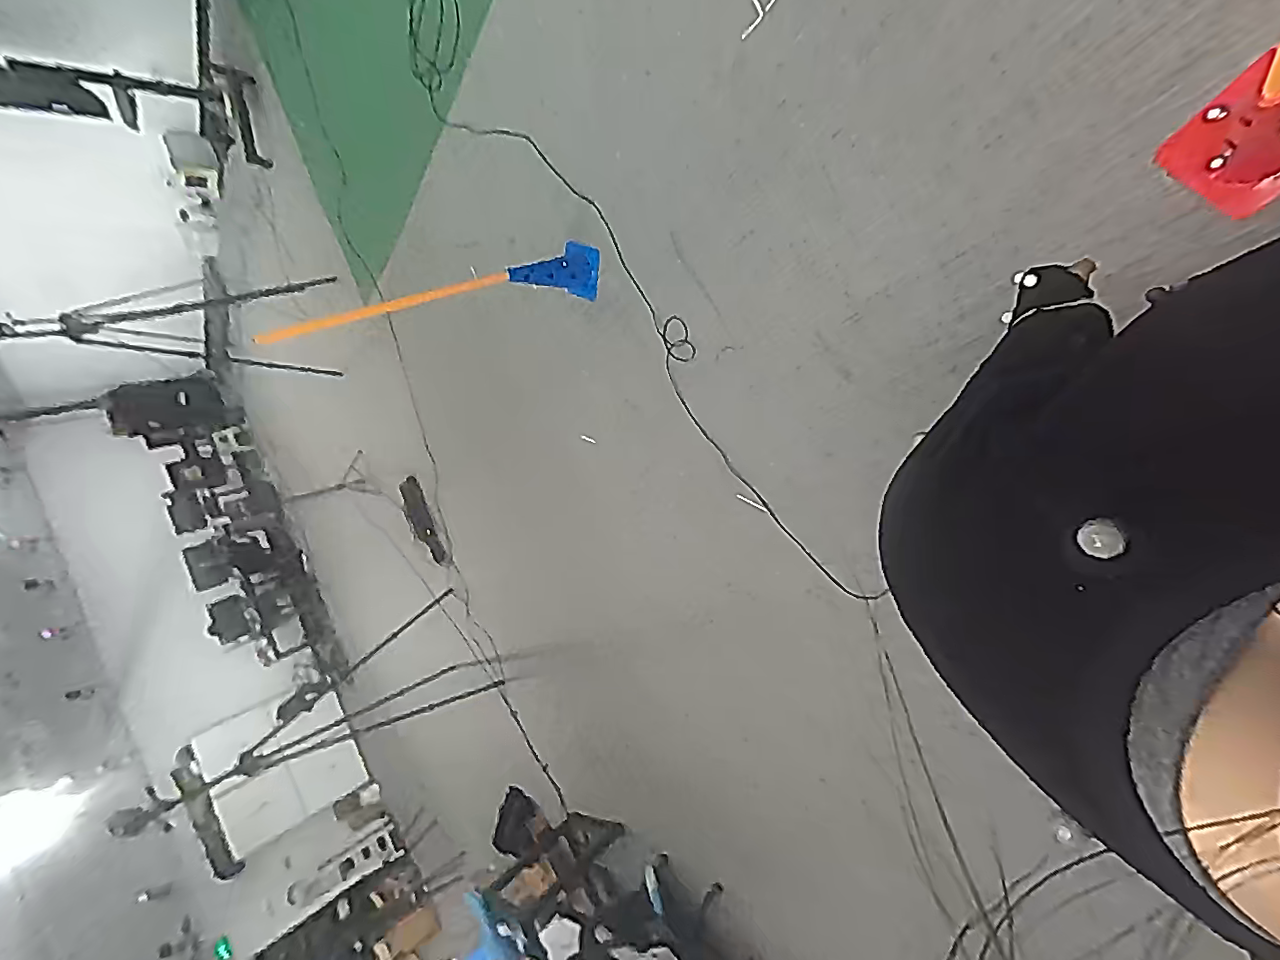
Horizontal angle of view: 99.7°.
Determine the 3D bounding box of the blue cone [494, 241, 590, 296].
[{"bbox_3d":[-0.380,-0.793,2.050,0.192,0.380,0.193,29,127,33],"label":"blue cone"}]
